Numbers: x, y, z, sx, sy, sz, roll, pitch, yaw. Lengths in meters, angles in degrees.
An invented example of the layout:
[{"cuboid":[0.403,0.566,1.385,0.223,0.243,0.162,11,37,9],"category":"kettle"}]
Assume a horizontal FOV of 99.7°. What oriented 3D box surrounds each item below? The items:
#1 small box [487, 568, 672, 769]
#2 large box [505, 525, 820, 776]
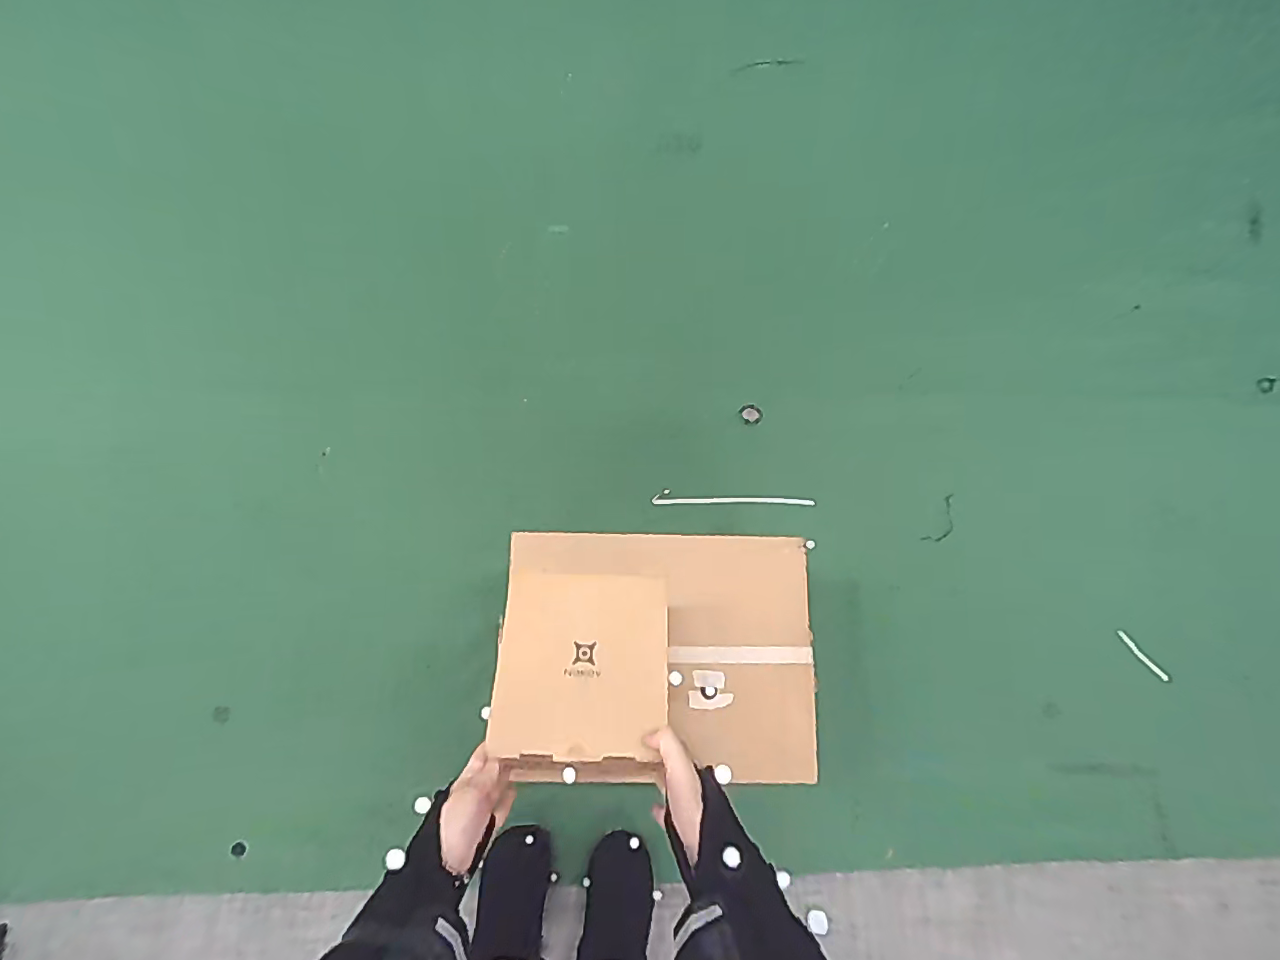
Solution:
[{"cuboid":[-0.056,0.209,0.584,0.168,0.176,0.179,2,61,-2],"category":"small box"},{"cuboid":[0.022,0.246,0.849,0.408,0.320,0.320,1,79,-2],"category":"large box"}]
